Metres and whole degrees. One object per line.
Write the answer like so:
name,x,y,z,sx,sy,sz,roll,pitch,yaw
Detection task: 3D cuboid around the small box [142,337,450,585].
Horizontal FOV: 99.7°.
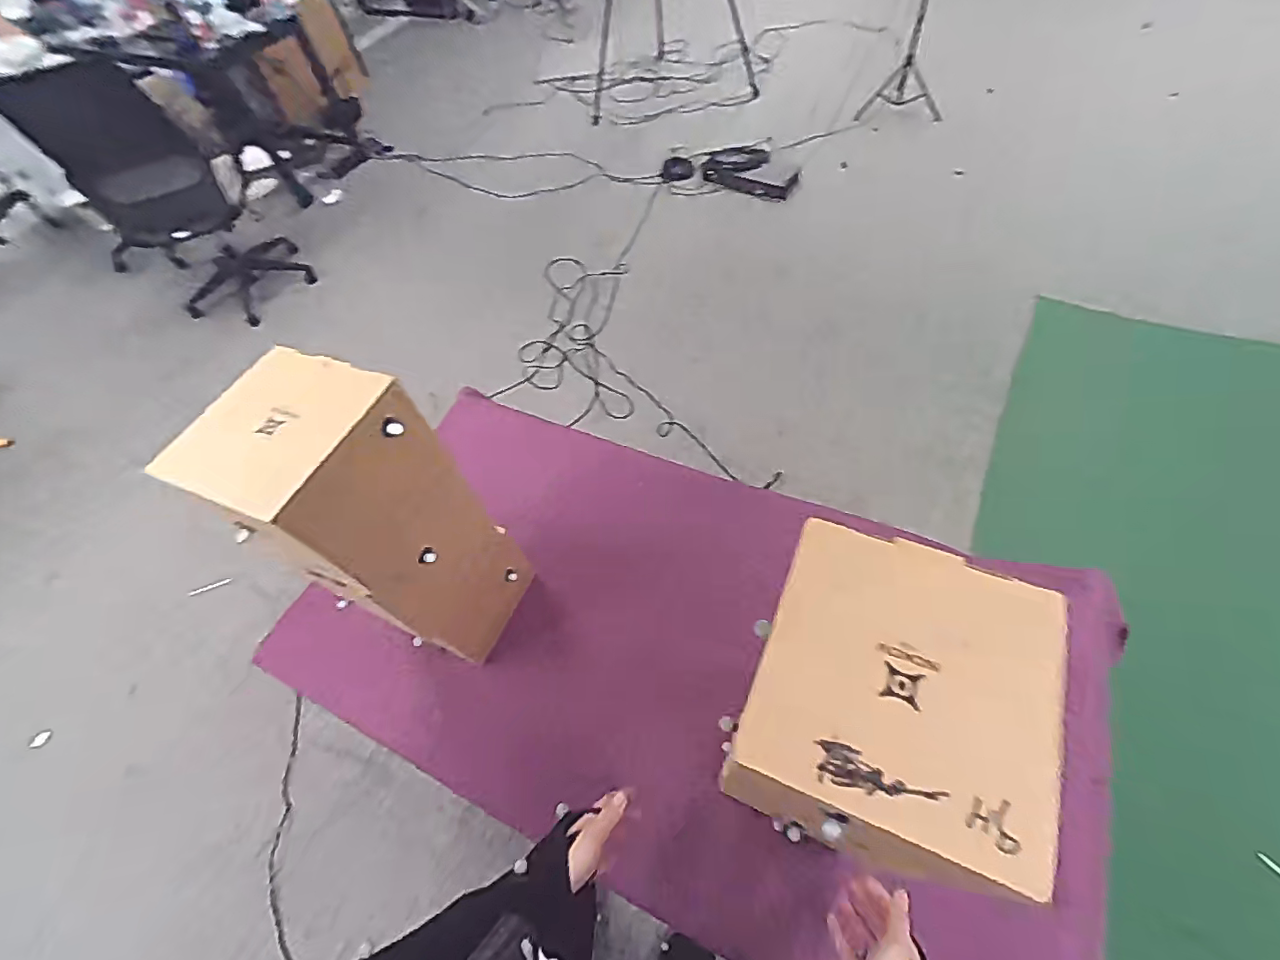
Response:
small box,-0.331,-0.015,0.563,0.168,0.176,0.179,17,59,18

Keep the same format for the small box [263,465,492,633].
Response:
small box,-0.320,0.072,0.700,0.168,0.176,0.179,19,60,19

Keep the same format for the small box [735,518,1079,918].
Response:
small box,0.171,0.162,0.386,0.168,0.176,0.179,18,60,18

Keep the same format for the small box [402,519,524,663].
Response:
small box,-0.299,0.154,0.839,0.168,0.176,0.179,19,61,18

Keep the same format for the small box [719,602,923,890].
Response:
small box,0.185,0.250,0.524,0.168,0.176,0.179,20,62,18
